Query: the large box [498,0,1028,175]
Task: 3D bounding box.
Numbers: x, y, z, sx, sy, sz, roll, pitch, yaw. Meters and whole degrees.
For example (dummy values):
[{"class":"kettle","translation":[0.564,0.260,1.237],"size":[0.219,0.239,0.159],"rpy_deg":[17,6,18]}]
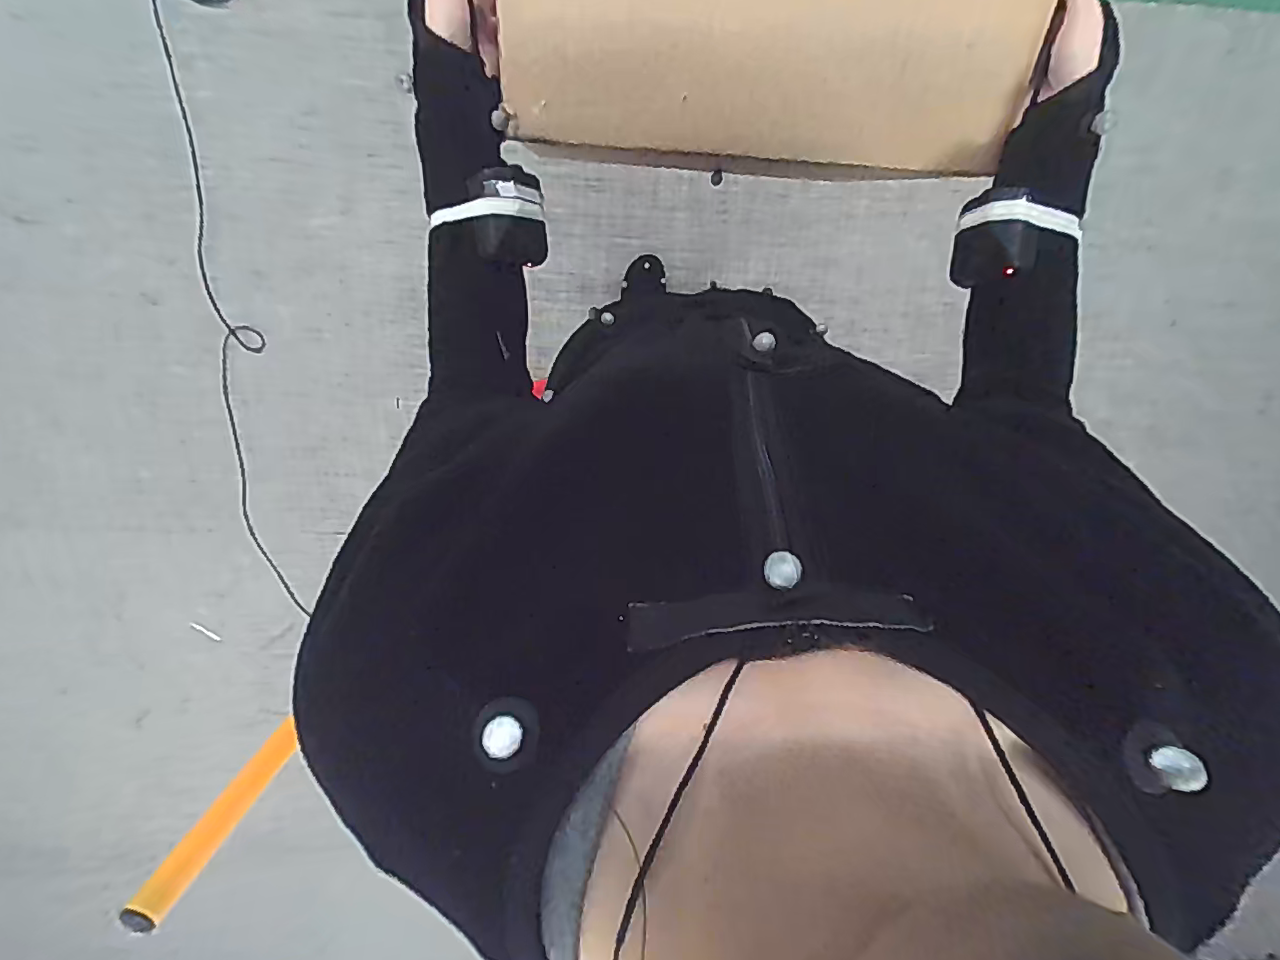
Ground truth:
[{"class":"large box","translation":[0.090,-0.470,0.503],"size":[0.408,0.320,0.320],"rpy_deg":[1,117,-5]}]
